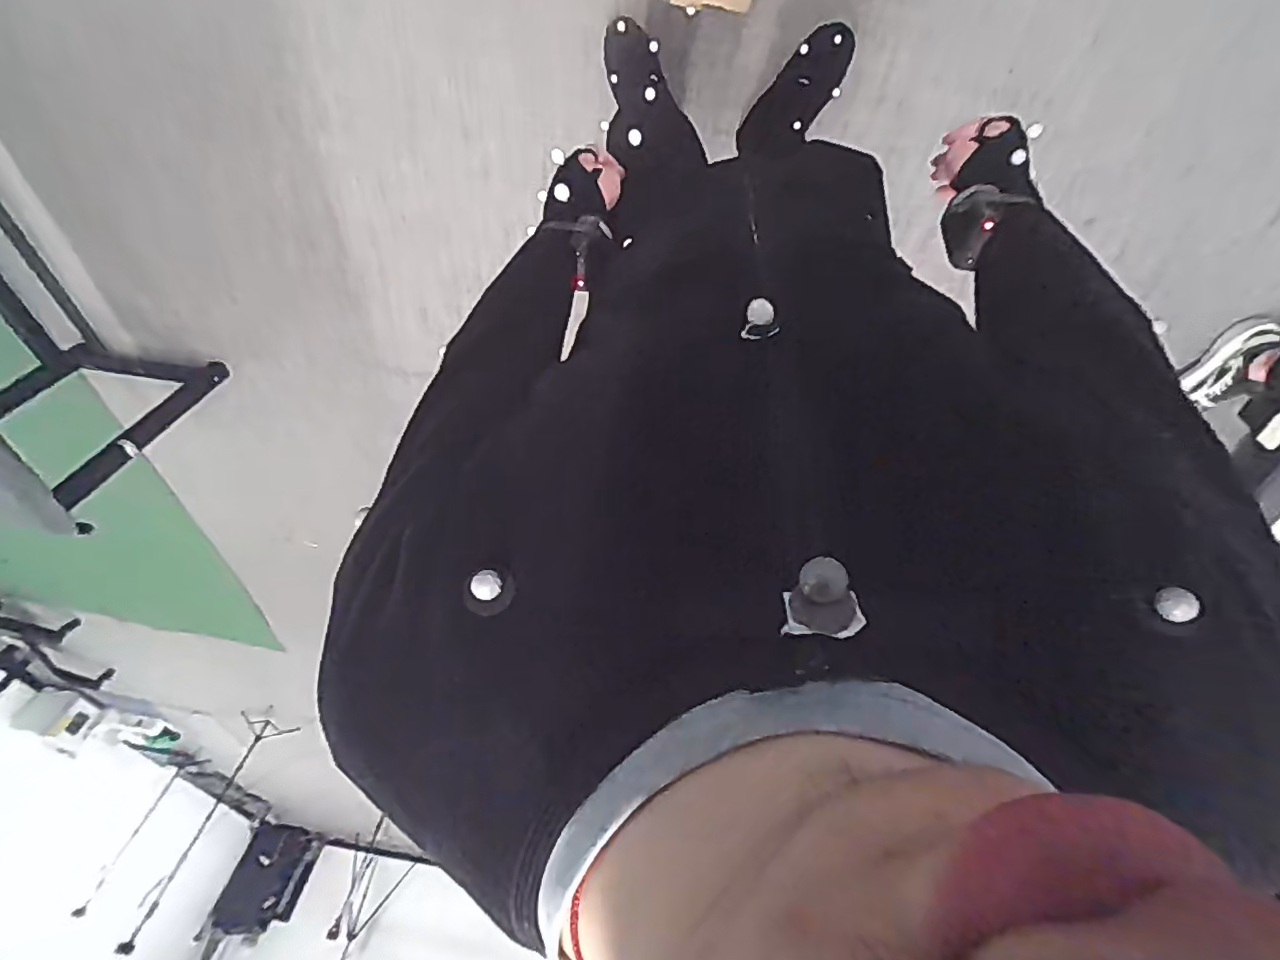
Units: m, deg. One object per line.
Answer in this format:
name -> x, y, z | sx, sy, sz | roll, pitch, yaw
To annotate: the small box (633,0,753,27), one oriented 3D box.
small box -> 0.090, -0.741, 0.719 | 0.168, 0.176, 0.179 | 13, 135, 0
